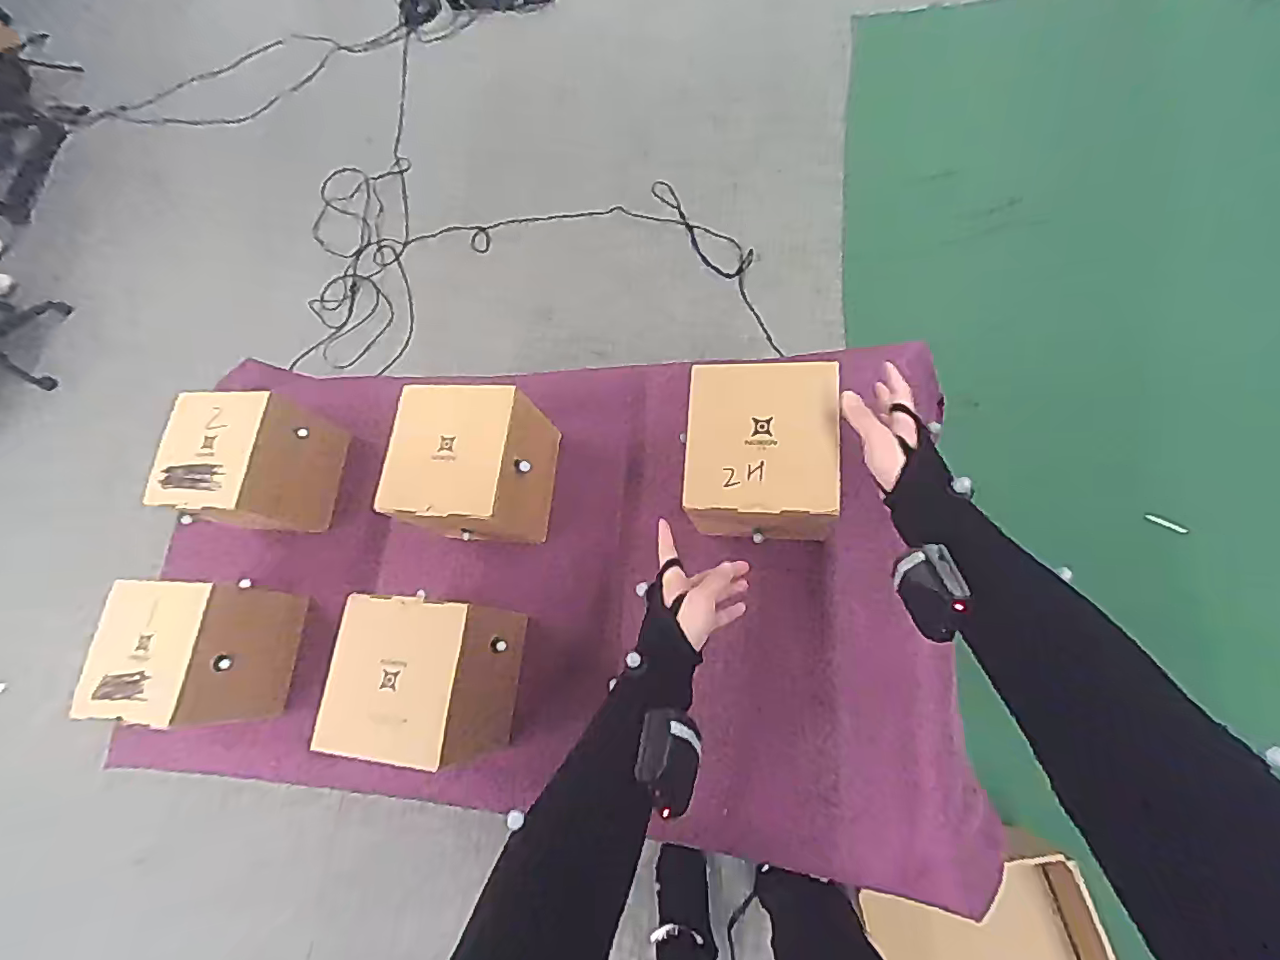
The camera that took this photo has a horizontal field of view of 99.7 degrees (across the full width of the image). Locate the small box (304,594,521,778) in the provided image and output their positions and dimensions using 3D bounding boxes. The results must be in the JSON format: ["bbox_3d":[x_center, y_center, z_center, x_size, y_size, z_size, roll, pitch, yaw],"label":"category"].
[{"bbox_3d":[-0.265,0.247,0.675,0.168,0.176,0.179,2,73,15],"label":"small box"}]

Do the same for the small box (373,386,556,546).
[{"bbox_3d":[-0.228,-0.014,0.751,0.168,0.176,0.179,3,75,14],"label":"small box"}]

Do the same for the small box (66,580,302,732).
[{"bbox_3d":[-0.618,0.242,0.759,0.168,0.176,0.179,0,71,13],"label":"small box"}]

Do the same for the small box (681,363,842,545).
[{"bbox_3d":[0.149,-0.025,0.660,0.168,0.176,0.179,2,75,15],"label":"small box"}]
